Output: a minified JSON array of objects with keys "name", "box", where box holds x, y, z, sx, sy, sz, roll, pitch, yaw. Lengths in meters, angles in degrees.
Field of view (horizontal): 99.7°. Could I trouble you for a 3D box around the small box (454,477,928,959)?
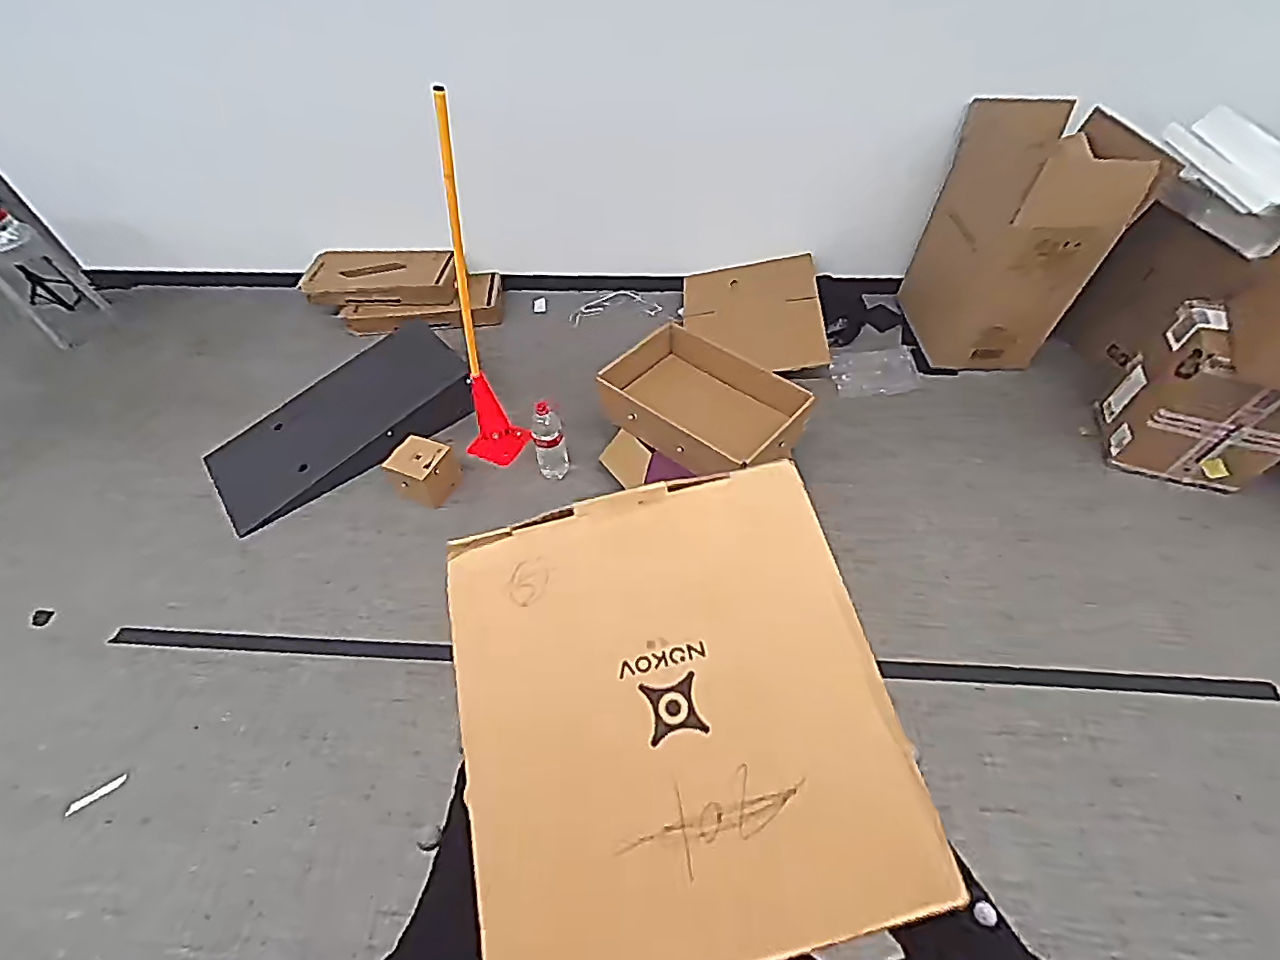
[{"name":"small box","box":[0.011,0.123,0.299,0.168,0.176,0.179,-13,67,-3]}]
